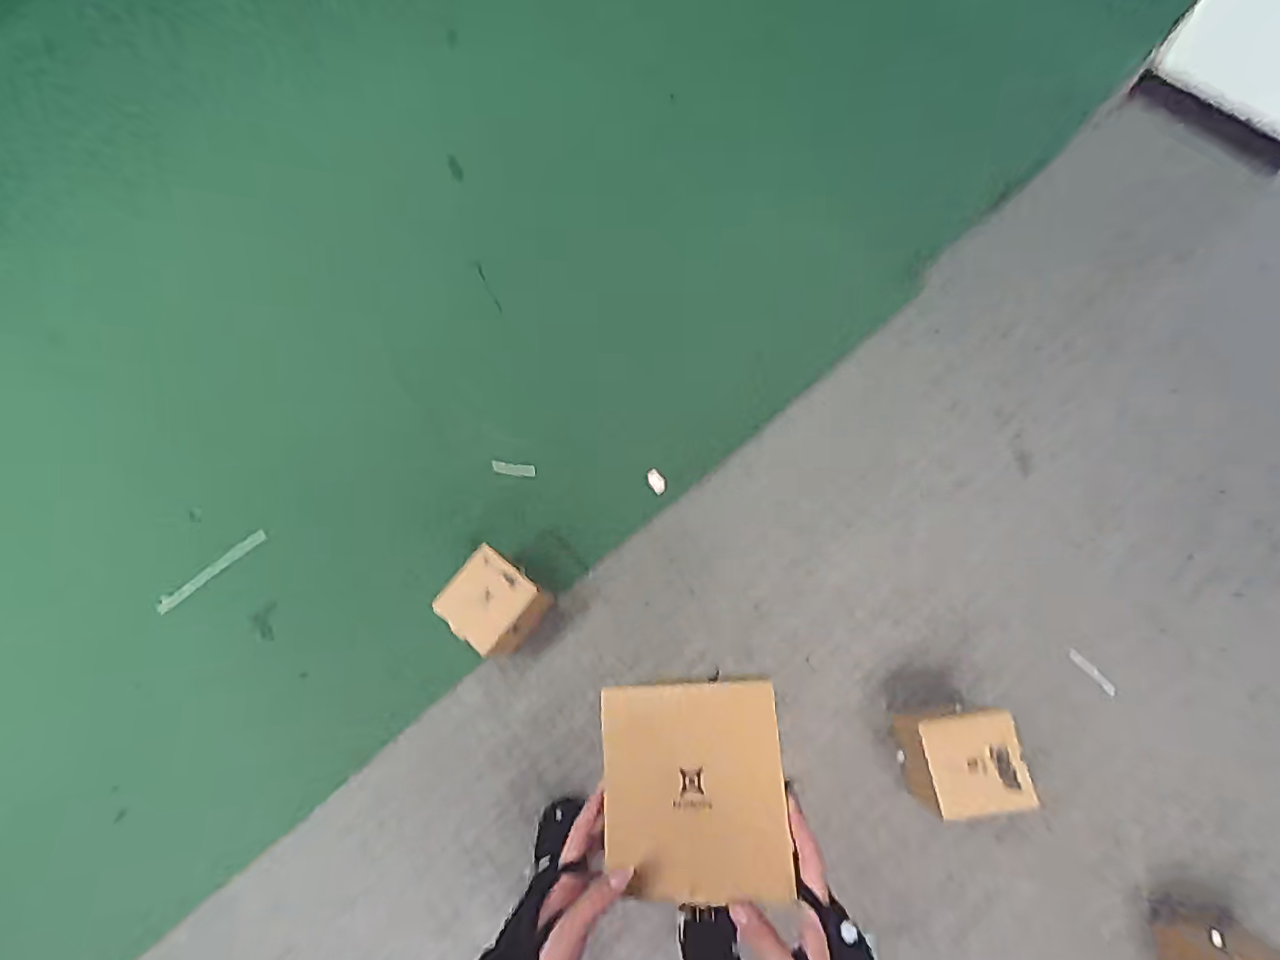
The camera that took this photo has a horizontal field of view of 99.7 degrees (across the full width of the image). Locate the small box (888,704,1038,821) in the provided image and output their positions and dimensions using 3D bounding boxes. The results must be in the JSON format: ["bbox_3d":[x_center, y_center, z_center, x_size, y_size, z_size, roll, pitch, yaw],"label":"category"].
[{"bbox_3d":[0.624,0.546,1.067,0.179,0.176,0.168,-9,72,3],"label":"small box"}]

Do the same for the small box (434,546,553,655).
[{"bbox_3d":[-0.323,0.279,1.235,0.168,0.176,0.179,37,79,15],"label":"small box"}]

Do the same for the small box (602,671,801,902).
[{"bbox_3d":[0.061,0.290,0.550,0.168,0.176,0.179,-7,73,9],"label":"small box"}]
